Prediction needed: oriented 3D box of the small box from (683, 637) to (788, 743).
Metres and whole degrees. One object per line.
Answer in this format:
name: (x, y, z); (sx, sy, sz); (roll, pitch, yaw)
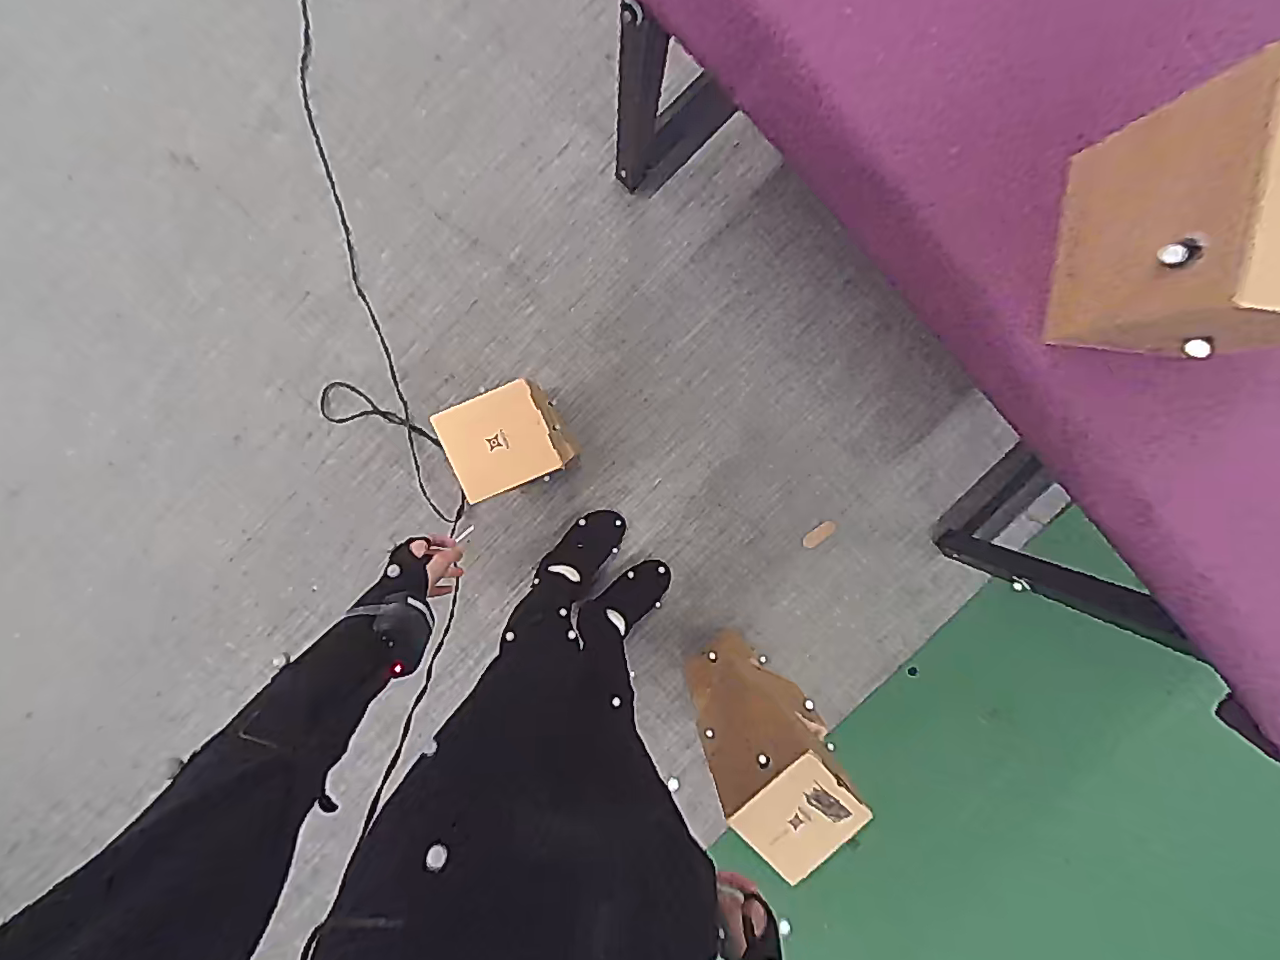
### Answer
small box: (0.215, 0.488, 1.248); (0.168, 0.176, 0.179); (-34, 97, 1)

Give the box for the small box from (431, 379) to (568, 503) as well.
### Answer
small box: (-0.246, -0.071, 0.991); (0.179, 0.176, 0.168); (-23, 96, -1)

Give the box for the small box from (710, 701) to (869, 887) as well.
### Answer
small box: (0.242, 0.520, 0.922); (0.179, 0.176, 0.168); (-42, 98, 3)

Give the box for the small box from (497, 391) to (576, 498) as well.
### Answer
small box: (-0.249, -0.084, 1.152); (0.179, 0.176, 0.168); (-29, 97, 1)

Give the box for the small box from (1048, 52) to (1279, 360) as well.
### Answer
small box: (0.489, -0.201, 0.452); (0.168, 0.176, 0.179); (5, 95, -5)
